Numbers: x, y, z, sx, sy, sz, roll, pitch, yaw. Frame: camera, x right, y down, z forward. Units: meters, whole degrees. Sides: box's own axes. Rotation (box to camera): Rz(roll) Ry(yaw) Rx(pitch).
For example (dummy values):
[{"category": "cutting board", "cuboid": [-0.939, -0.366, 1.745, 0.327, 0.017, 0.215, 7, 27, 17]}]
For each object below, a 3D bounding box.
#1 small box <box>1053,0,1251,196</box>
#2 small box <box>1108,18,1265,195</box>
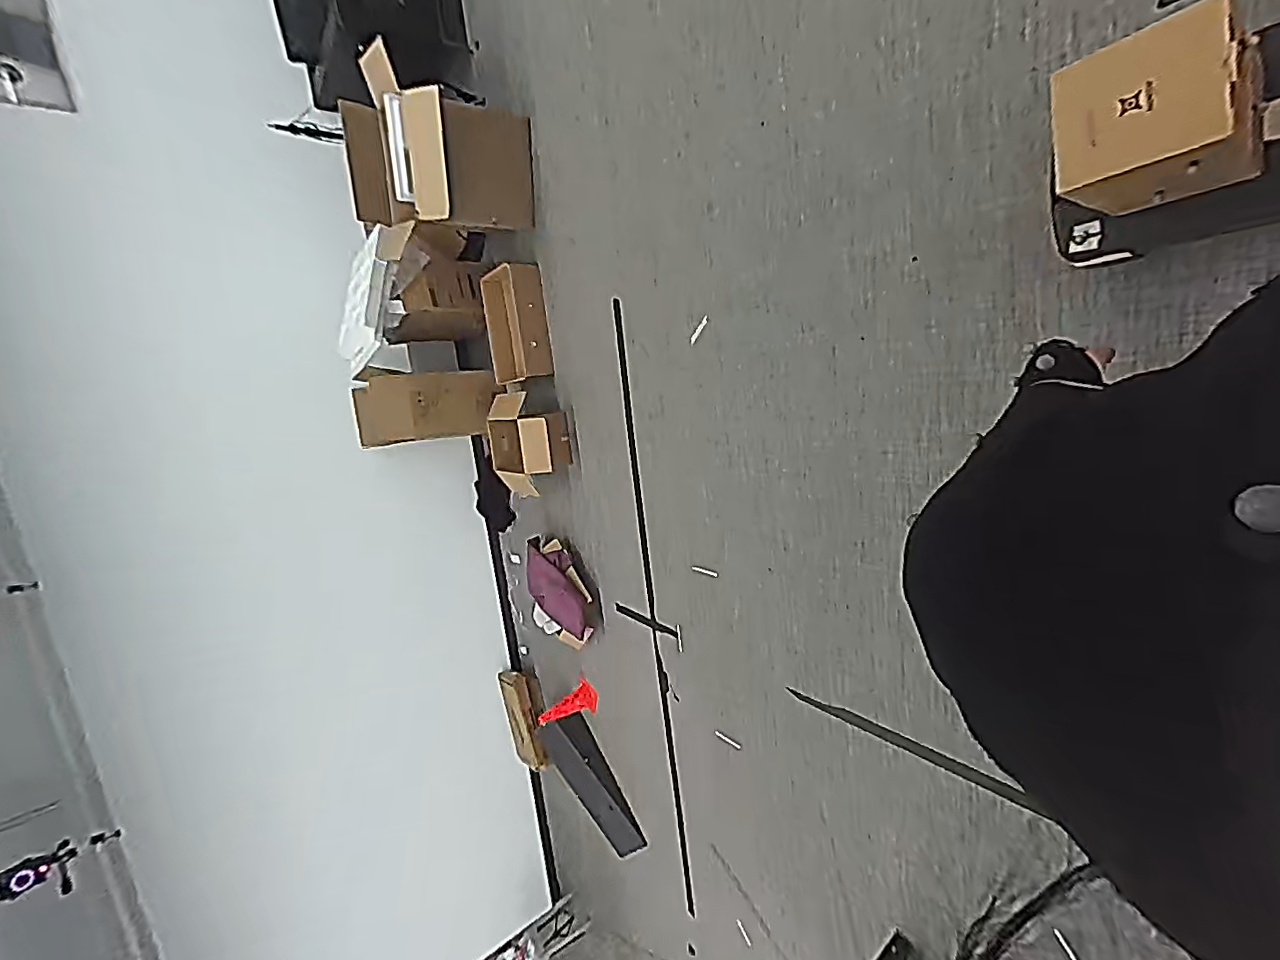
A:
[{"category": "small box", "cuboid": [0.703, -0.514, 0.743, 0.179, 0.176, 0.168, 0, 101, 54]}, {"category": "small box", "cuboid": [0.833, -0.549, 0.838, 0.179, 0.176, 0.168, 1, 103, 52]}]
